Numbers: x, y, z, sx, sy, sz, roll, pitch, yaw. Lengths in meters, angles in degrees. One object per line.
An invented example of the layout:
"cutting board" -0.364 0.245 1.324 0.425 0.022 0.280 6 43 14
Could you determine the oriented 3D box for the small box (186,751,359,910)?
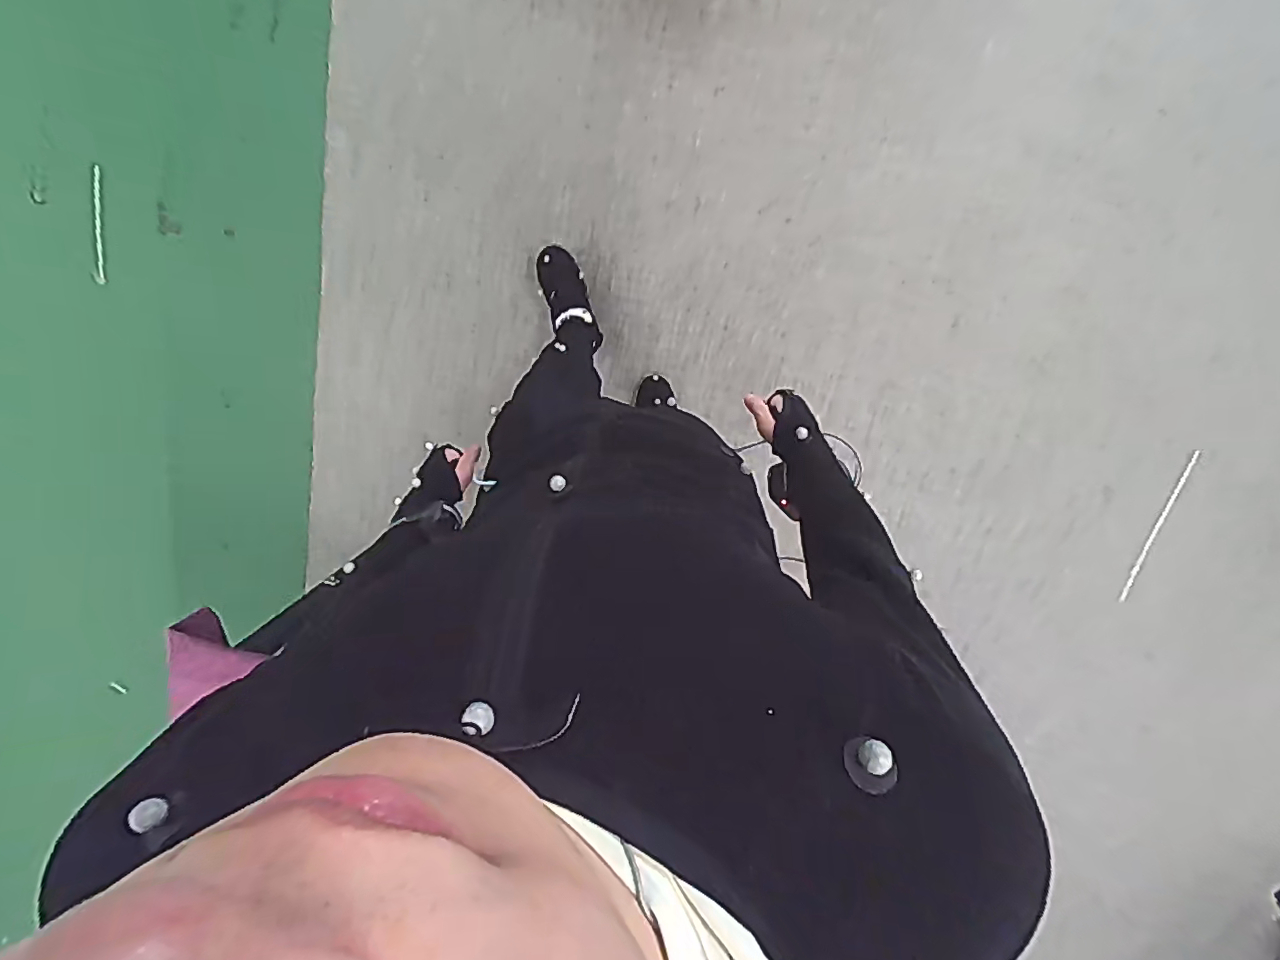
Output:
"small box" -0.682 0.655 1.025 0.179 0.176 0.168 -21 104 8
